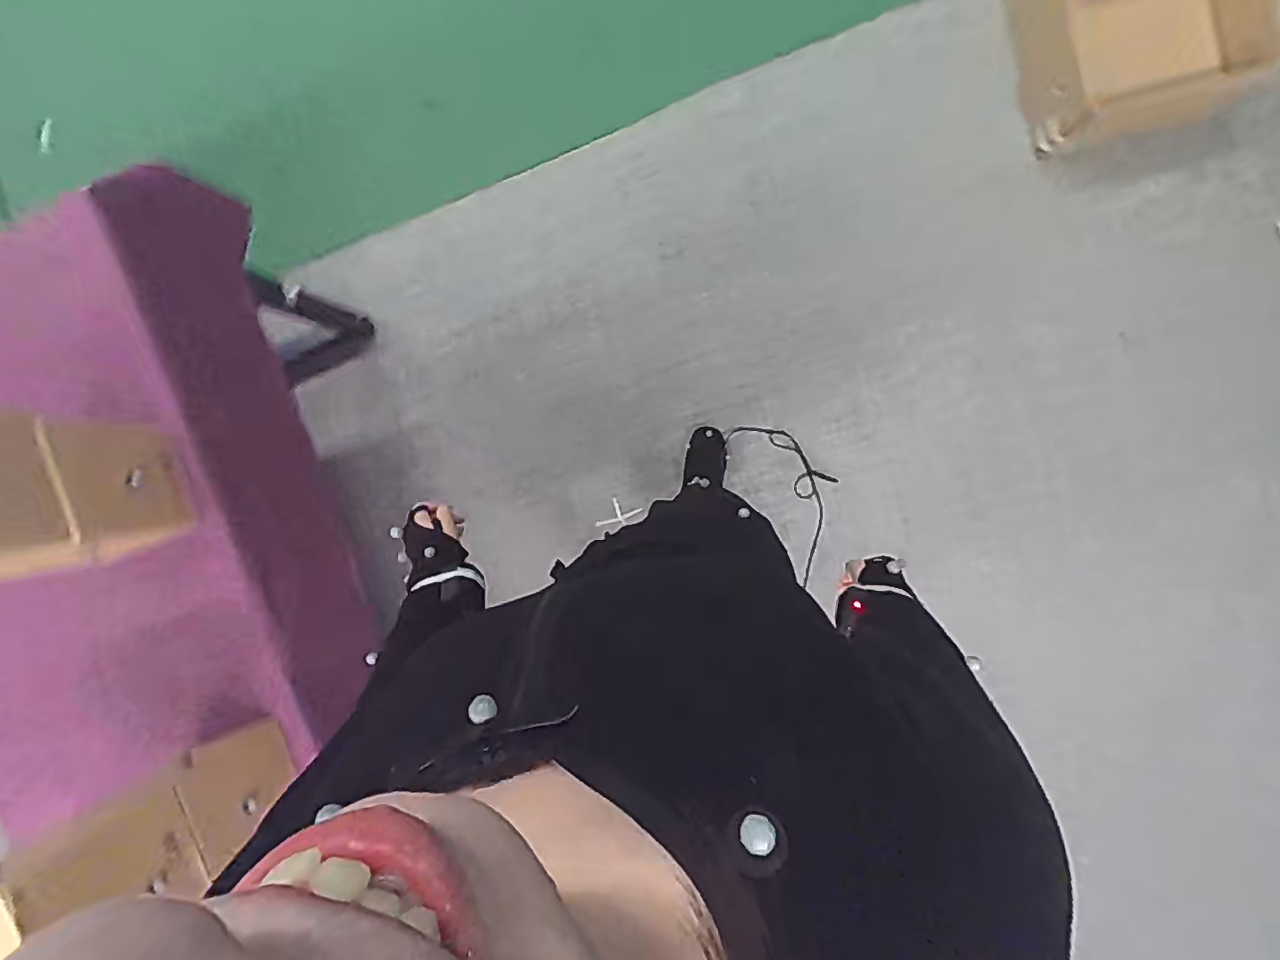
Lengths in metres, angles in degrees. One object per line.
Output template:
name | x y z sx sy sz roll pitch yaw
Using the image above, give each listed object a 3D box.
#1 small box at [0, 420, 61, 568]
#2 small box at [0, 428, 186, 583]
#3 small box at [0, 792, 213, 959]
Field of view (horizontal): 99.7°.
small box | -0.826 0.032 0.607 0.168 0.176 0.179 -19 90 7
small box | -0.802 0.031 0.771 0.179 0.176 0.168 -19 90 7
small box | -0.647 0.497 0.609 0.179 0.176 0.168 -22 90 7
